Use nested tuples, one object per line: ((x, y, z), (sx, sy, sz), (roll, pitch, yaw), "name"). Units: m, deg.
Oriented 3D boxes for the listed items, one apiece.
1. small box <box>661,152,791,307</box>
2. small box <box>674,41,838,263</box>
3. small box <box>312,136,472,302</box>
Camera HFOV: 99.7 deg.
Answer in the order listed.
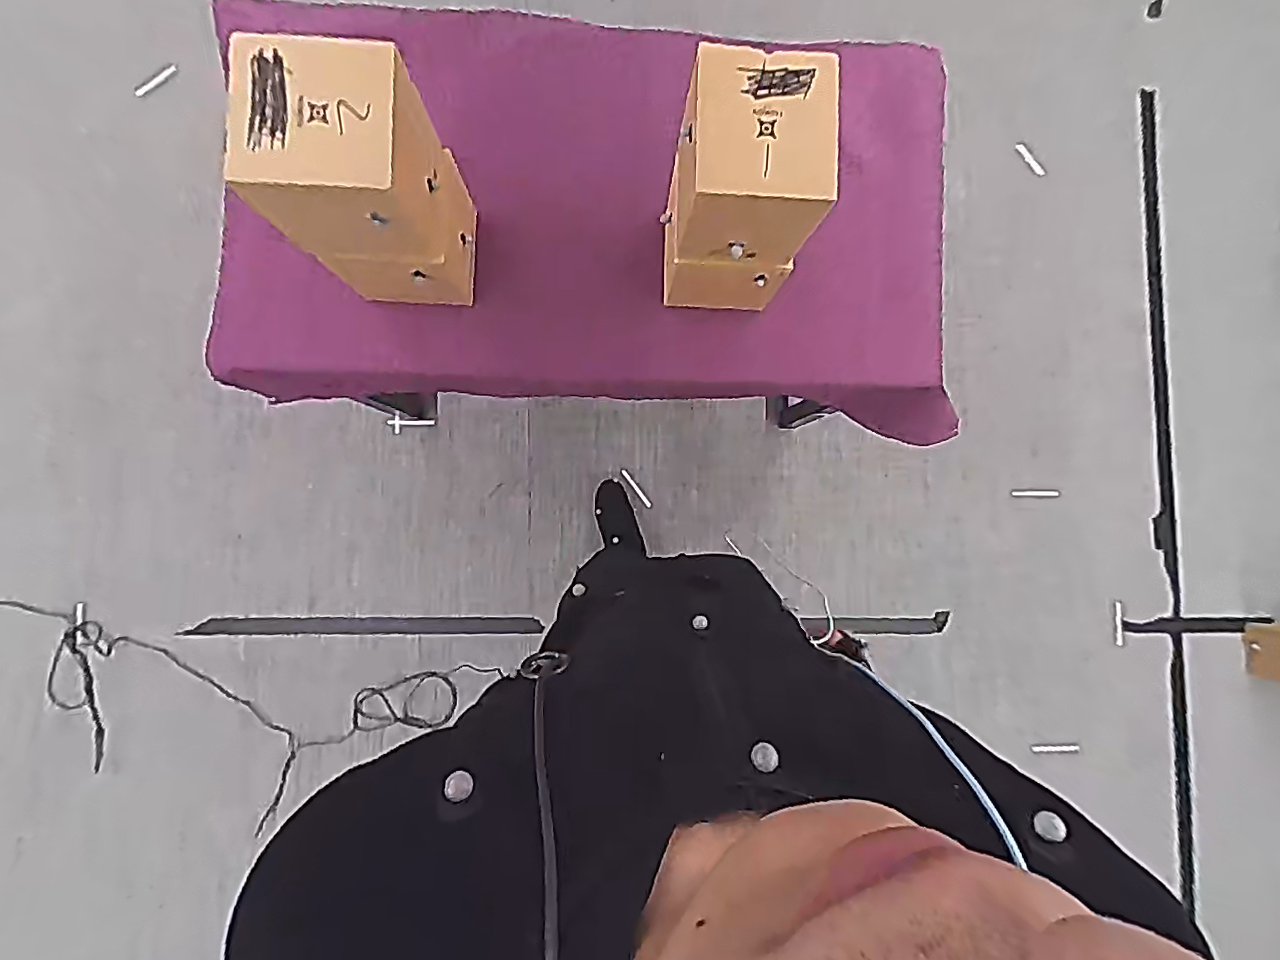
((0.127, -0.383, 0.853), (0.179, 0.176, 0.168), (1, 87, -4), "small box")
((0.136, -0.401, 0.689), (0.168, 0.176, 0.179), (2, 88, -4), "small box")
((-0.361, -0.380, 0.819), (0.179, 0.176, 0.168), (2, 88, -4), "small box")
